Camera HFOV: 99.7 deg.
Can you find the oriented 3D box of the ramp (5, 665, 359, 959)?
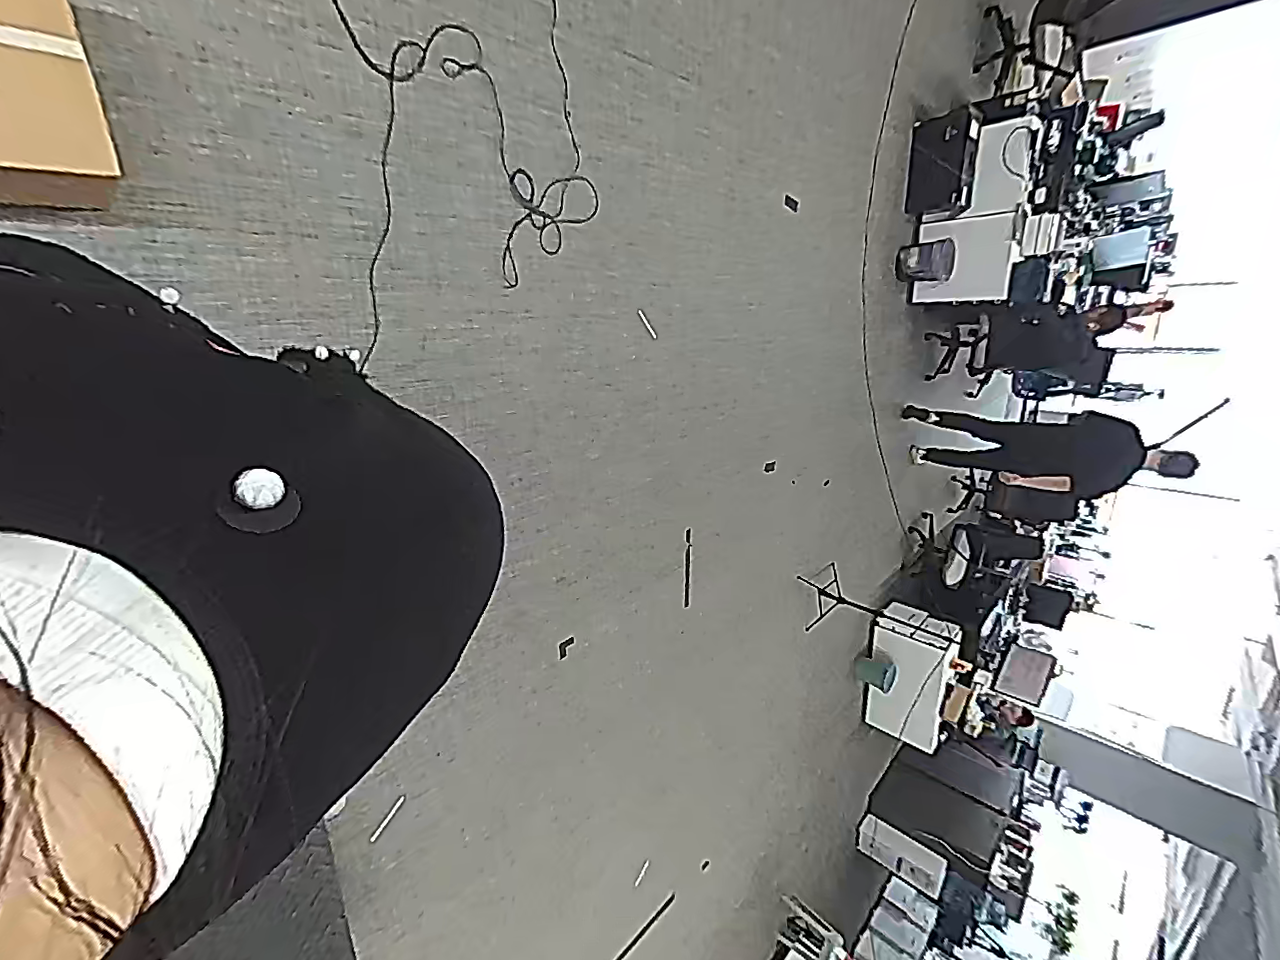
[{"bbox_3d":[-0.999,0.997,1.275,0.509,0.206,0.991,-16,112,-42],"label":"ramp"}]

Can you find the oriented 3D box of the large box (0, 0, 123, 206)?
[{"bbox_3d":[-1.028,-0.577,0.731,0.408,0.320,0.320,-21,115,-43],"label":"large box"}]
